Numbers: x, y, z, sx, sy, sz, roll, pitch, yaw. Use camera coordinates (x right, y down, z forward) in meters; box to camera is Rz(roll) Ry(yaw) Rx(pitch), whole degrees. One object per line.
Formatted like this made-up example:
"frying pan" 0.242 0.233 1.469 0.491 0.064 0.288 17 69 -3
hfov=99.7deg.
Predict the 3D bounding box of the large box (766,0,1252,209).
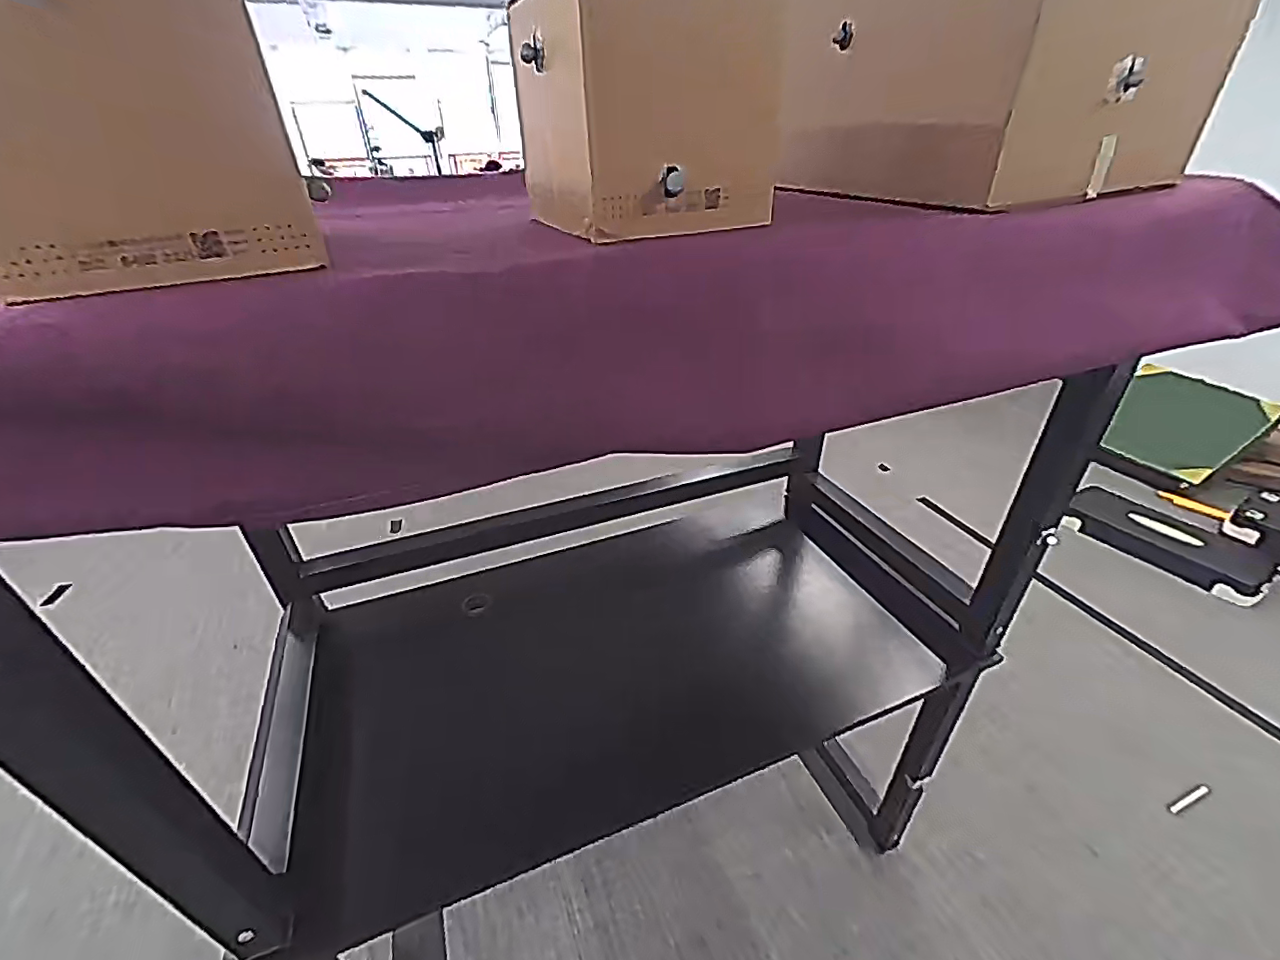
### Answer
"large box" 0.340 -0.492 0.588 0.320 0.320 0.408 -16 35 -20

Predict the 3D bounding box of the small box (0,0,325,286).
"small box" -0.321 -0.229 0.344 0.168 0.176 0.179 -19 36 -24

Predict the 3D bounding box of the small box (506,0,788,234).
"small box" -0.002 -0.311 0.454 0.168 0.176 0.179 -17 36 -20
